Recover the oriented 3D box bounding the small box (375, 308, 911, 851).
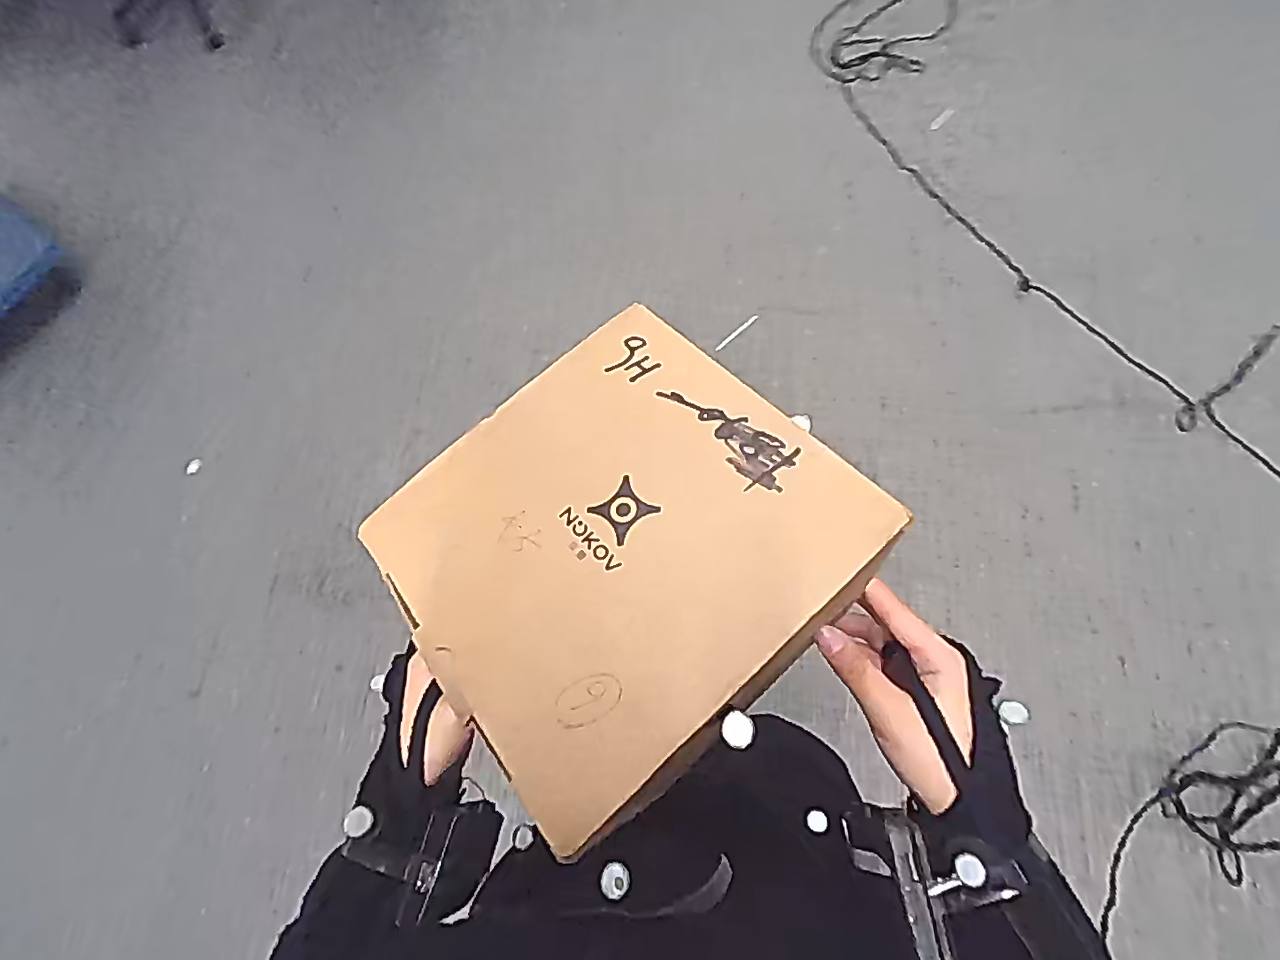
[{"bbox_3d":[0.006,0.053,0.296,0.179,0.176,0.168,-40,64,-7],"label":"small box"}]
